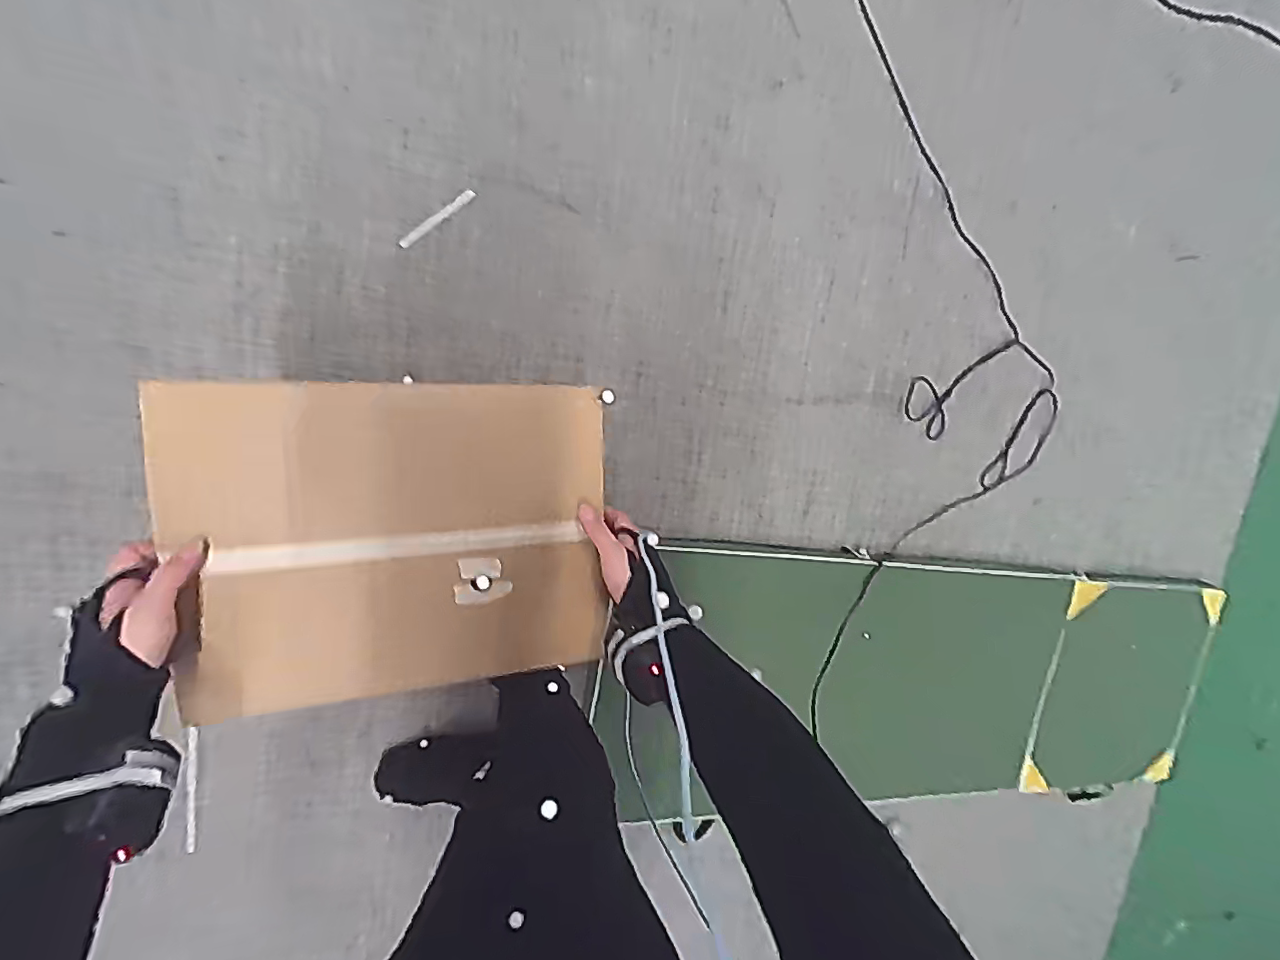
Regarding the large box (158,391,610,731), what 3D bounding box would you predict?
[{"bbox_3d":[-0.279,0.053,0.687,0.408,0.320,0.320,-4,98,-21],"label":"large box"}]
